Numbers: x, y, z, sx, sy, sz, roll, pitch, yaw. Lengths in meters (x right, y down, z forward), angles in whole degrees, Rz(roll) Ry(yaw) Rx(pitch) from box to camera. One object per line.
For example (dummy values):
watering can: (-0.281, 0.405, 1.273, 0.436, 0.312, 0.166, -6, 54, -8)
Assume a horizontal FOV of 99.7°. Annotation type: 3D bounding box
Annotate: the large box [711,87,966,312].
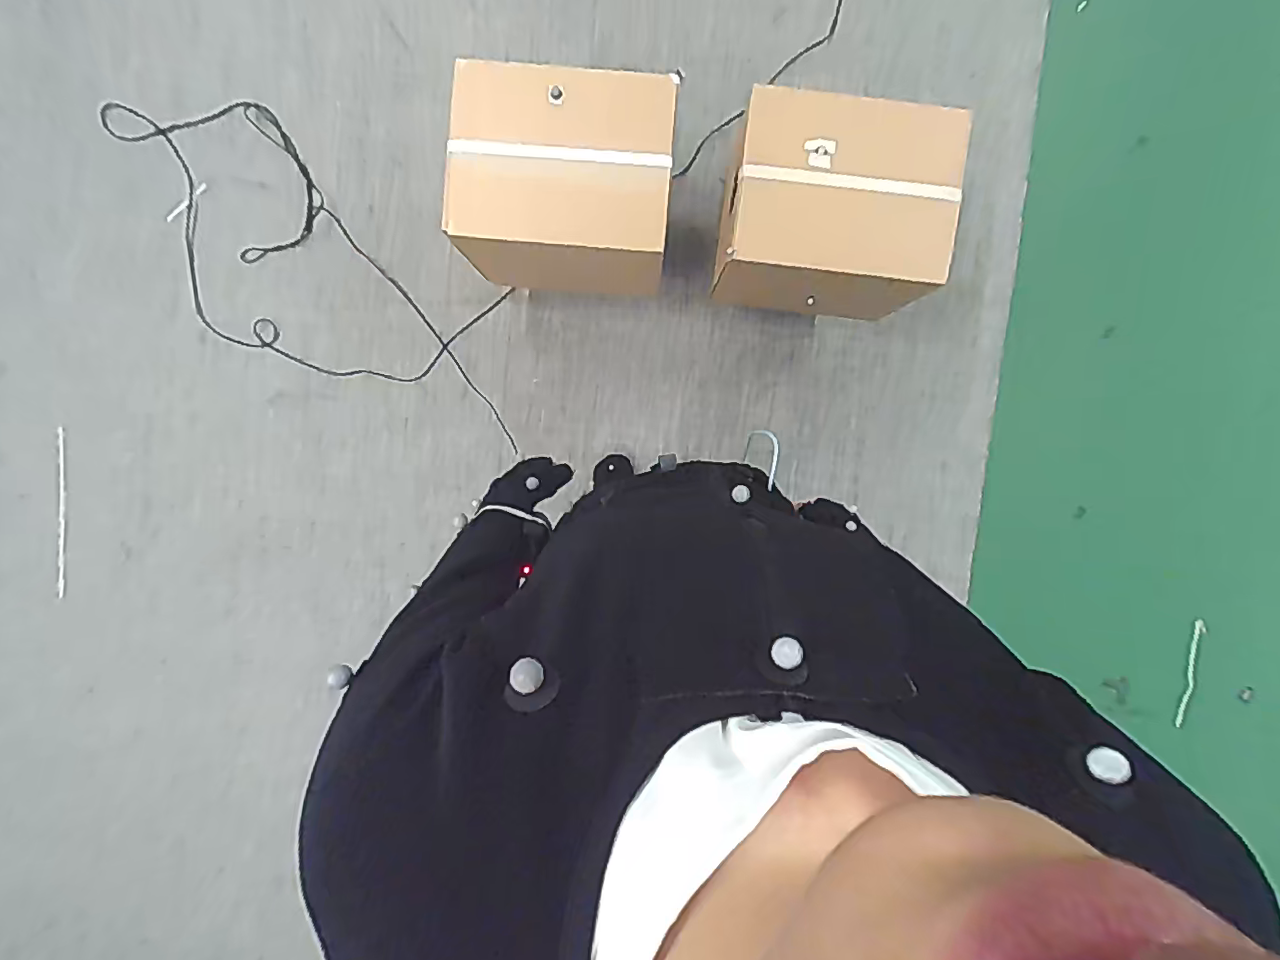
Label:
large box: (0.385, -0.558, 1.145, 0.408, 0.320, 0.320, 7, 94, 0)
